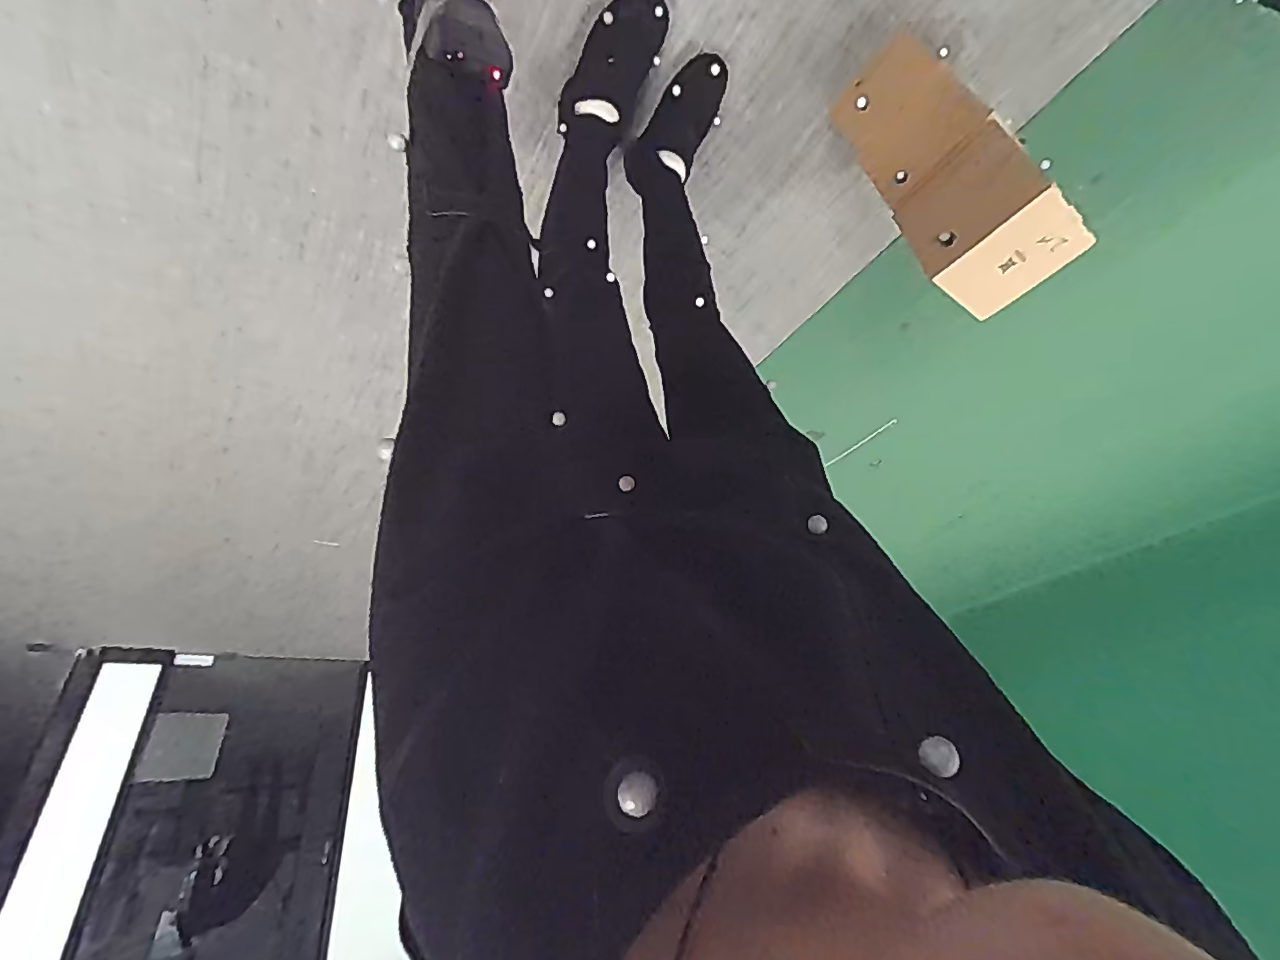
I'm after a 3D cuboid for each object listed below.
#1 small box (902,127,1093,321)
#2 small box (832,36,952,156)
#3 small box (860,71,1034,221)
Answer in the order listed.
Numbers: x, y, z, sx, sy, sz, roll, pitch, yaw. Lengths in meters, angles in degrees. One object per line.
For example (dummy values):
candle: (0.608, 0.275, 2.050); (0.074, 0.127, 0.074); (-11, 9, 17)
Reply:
small box: (0.539, -0.392, 0.842); (0.168, 0.176, 0.179); (16, 140, -33)
small box: (0.488, -0.672, 1.002); (0.179, 0.176, 0.168); (18, 138, -34)
small box: (0.512, -0.536, 0.918); (0.168, 0.176, 0.179); (16, 141, -32)
